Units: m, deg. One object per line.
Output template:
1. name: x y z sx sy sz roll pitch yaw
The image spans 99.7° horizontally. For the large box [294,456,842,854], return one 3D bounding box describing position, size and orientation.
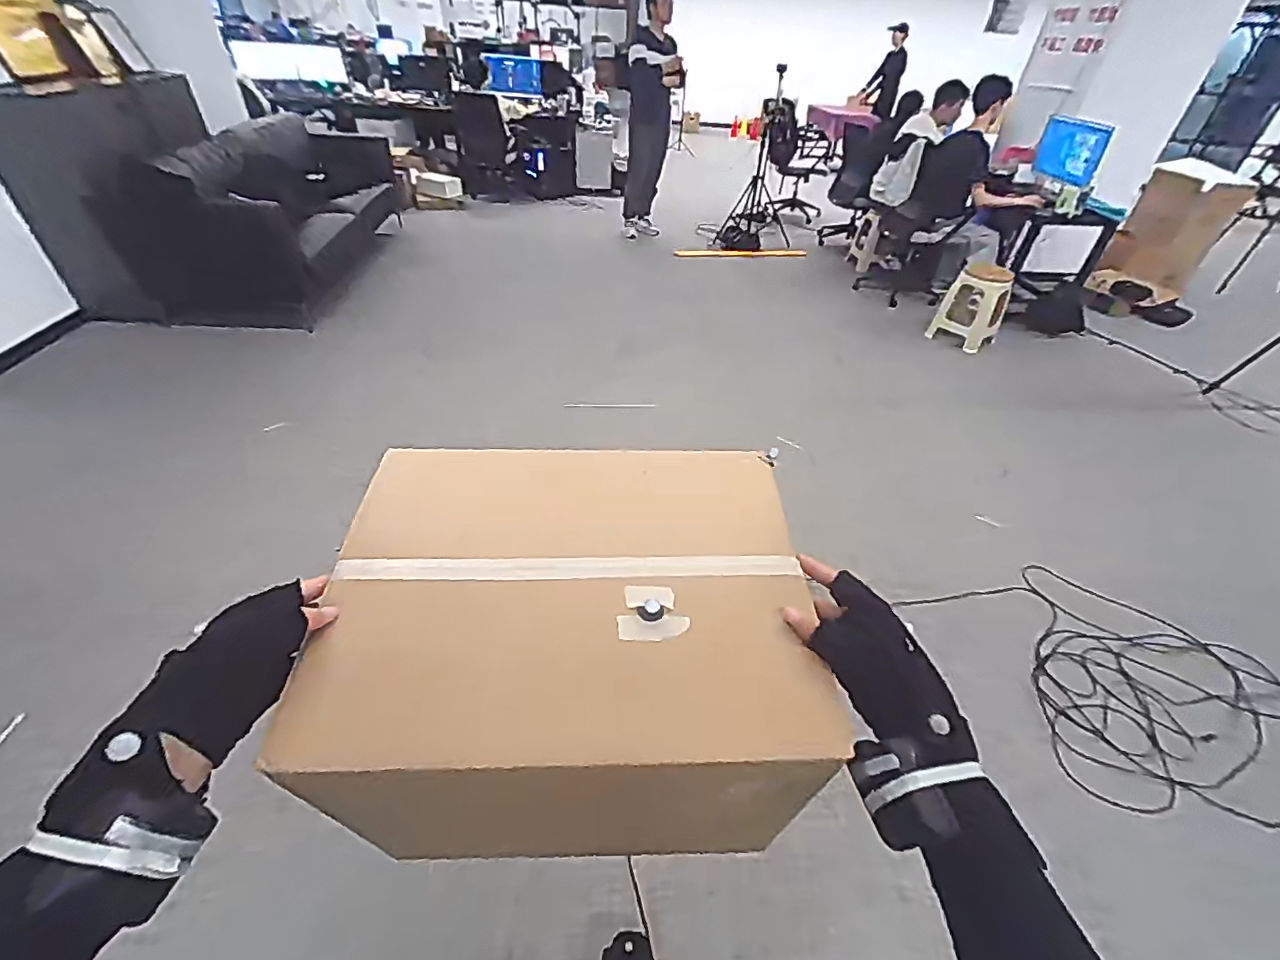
1. large box: -0.059 0.189 0.595 0.408 0.320 0.320 0 46 -3
